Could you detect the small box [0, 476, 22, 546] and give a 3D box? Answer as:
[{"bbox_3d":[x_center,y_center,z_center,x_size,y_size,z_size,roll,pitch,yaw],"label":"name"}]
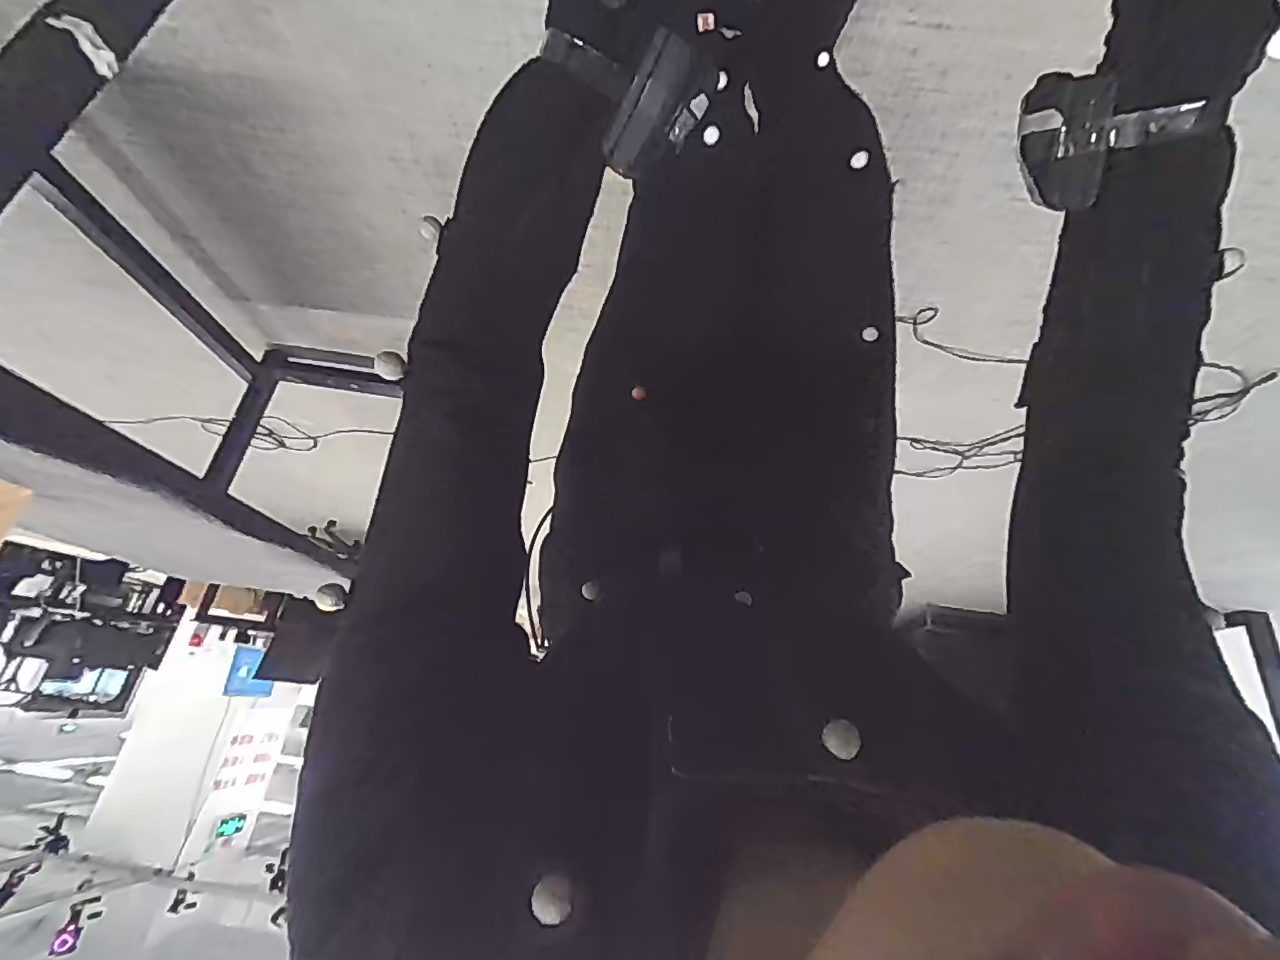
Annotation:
[{"bbox_3d":[-0.955,0.041,0.674,0.179,0.176,0.168,9,158,2],"label":"small box"}]
